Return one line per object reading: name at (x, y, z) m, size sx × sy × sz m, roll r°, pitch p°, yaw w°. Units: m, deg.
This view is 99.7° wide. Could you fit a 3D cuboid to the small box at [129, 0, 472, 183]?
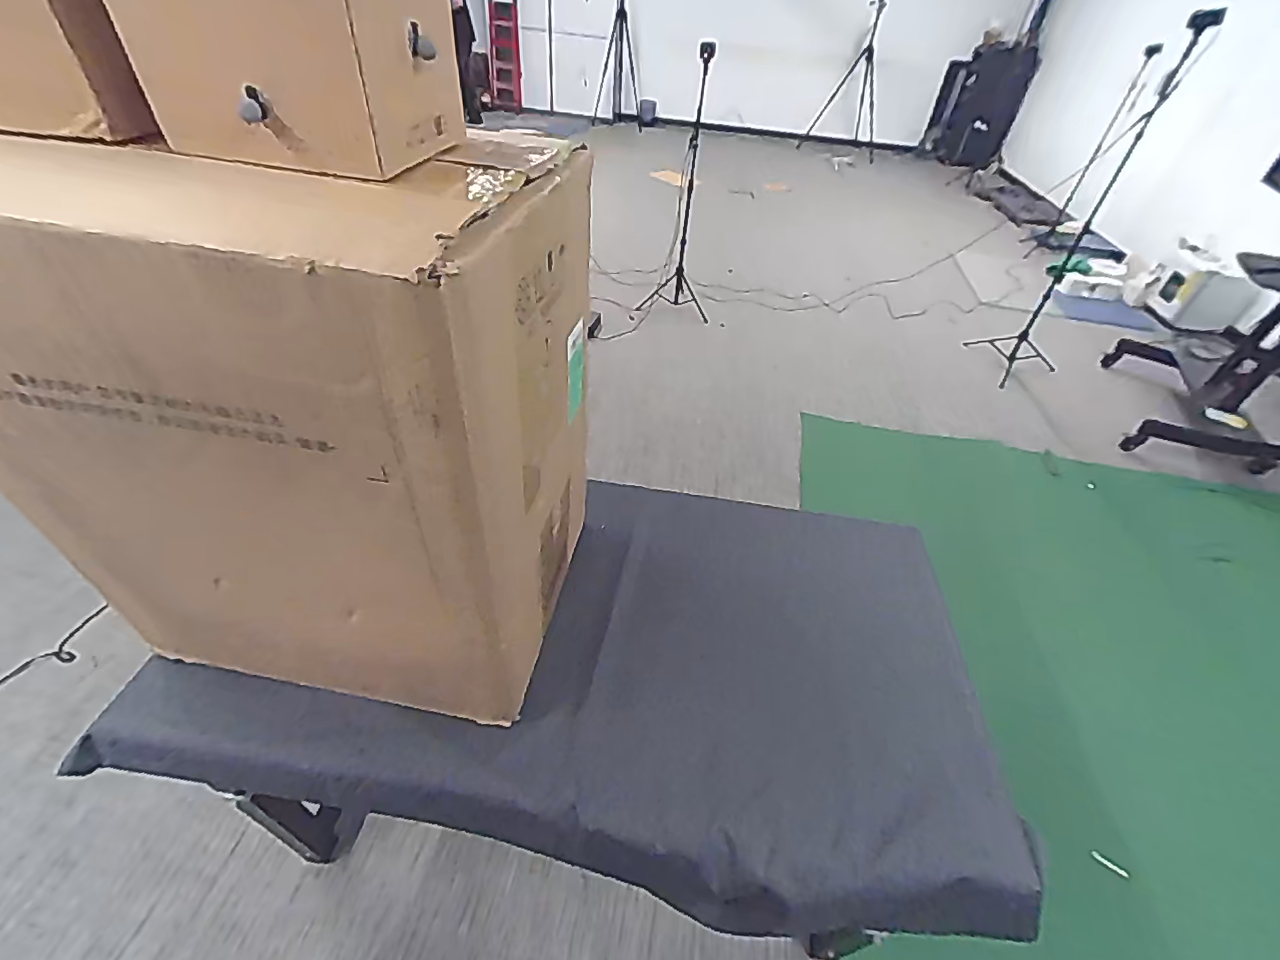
small box at (-0.248, -0.349, 0.426) m, size 0.179 × 0.176 × 0.168 m, roll 9°, pitch 42°, yaw 3°
